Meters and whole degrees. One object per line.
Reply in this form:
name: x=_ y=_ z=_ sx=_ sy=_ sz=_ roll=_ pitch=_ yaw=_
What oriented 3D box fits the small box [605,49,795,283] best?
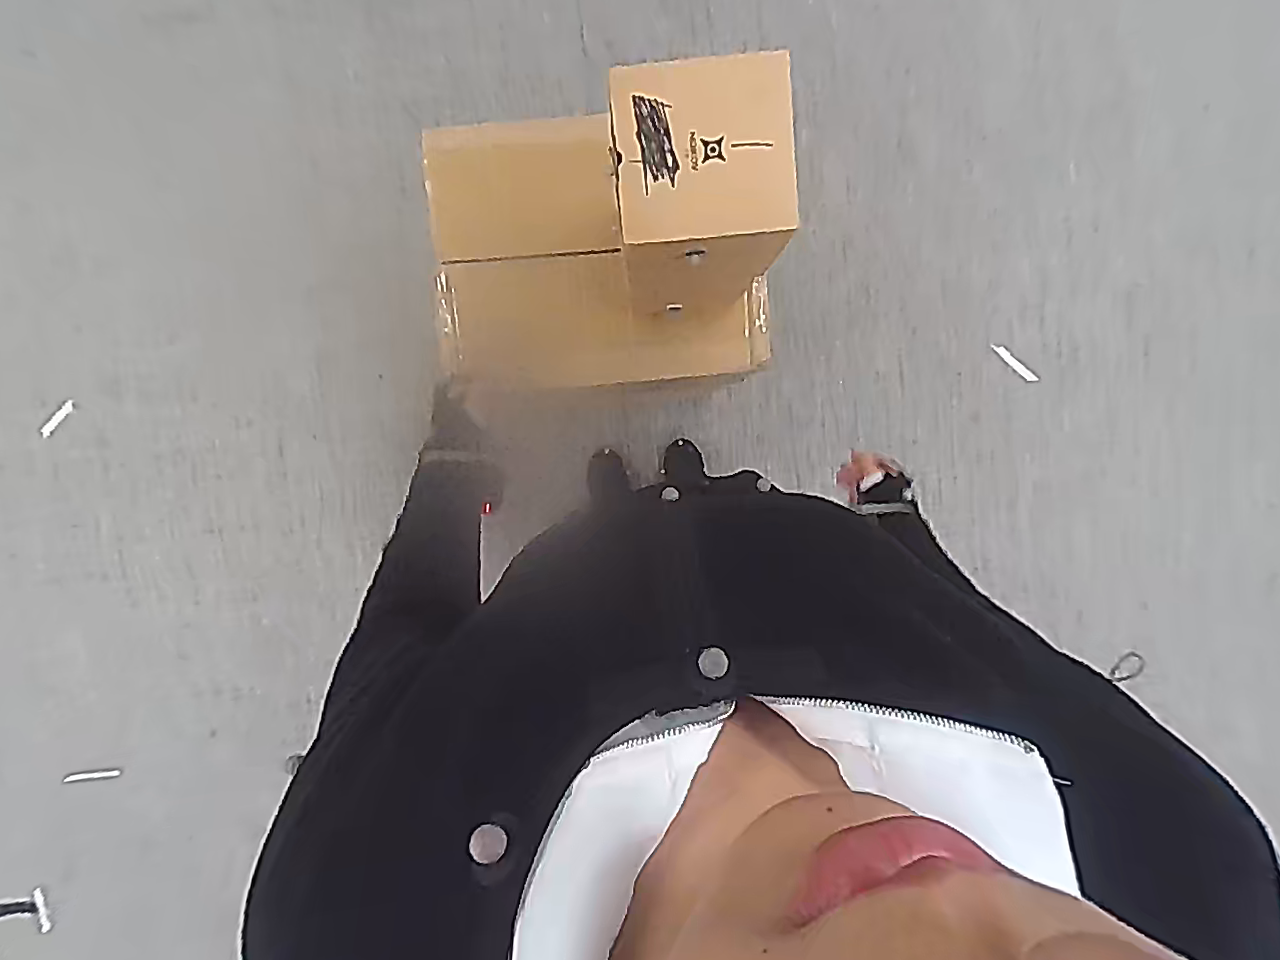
small box: x=0.061 y=-0.328 z=0.602 sx=0.179 sy=0.176 sz=0.168 roll=-5 pitch=96 yaw=1

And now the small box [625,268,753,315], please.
small box: x=0.059 y=-0.344 z=0.766 sx=0.168 sy=0.176 sz=0.179 roll=-5 pitch=96 yaw=2
